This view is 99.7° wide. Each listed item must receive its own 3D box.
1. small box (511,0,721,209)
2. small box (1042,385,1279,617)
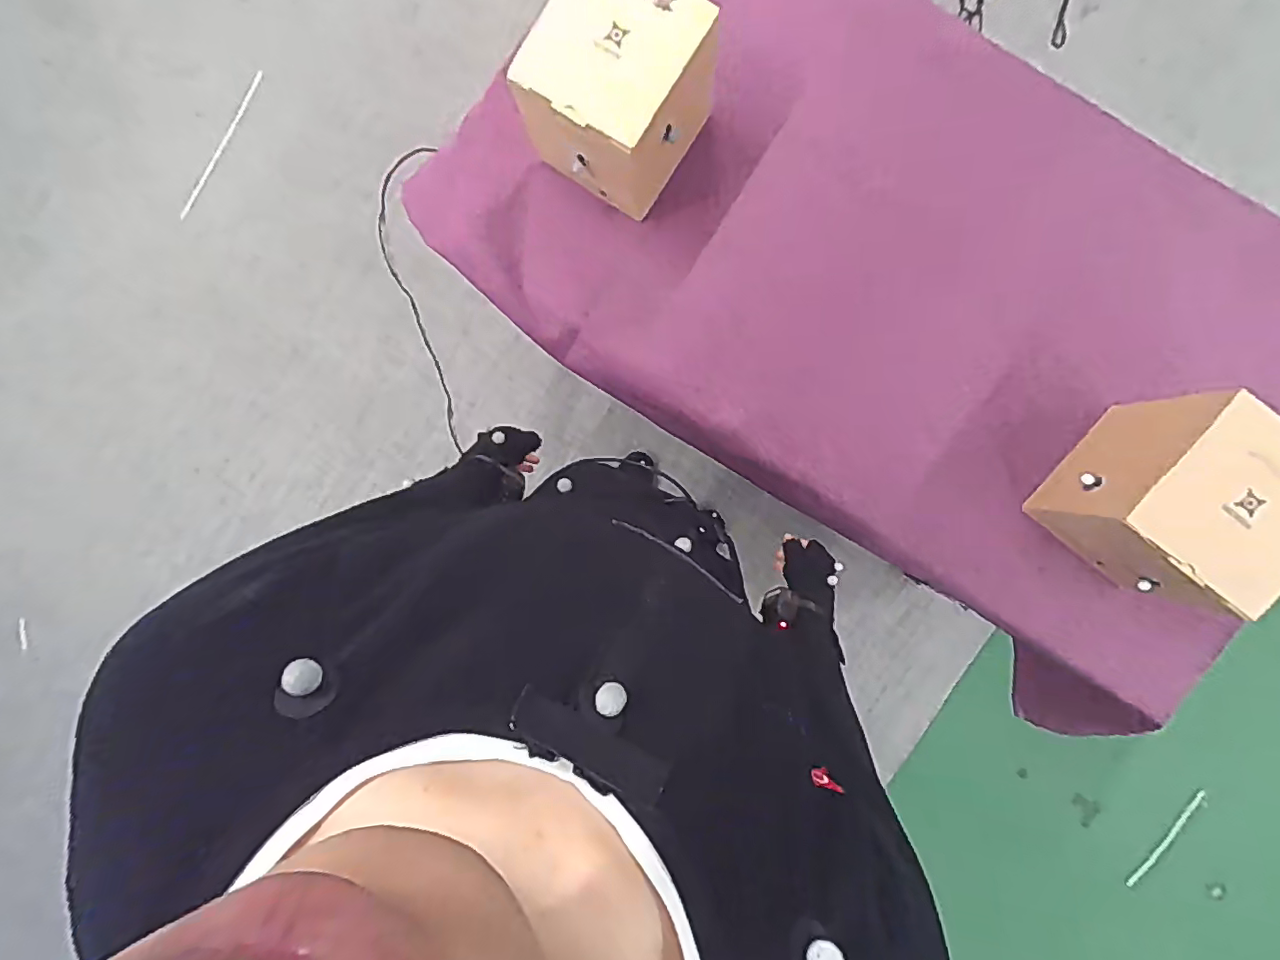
[{"bbox_3d":[-0.020,-0.468,0.648,0.168,0.176,0.179,33,94,2],"label":"small box"},{"bbox_3d":[0.612,0.020,0.615,0.168,0.176,0.179,40,94,2],"label":"small box"}]
